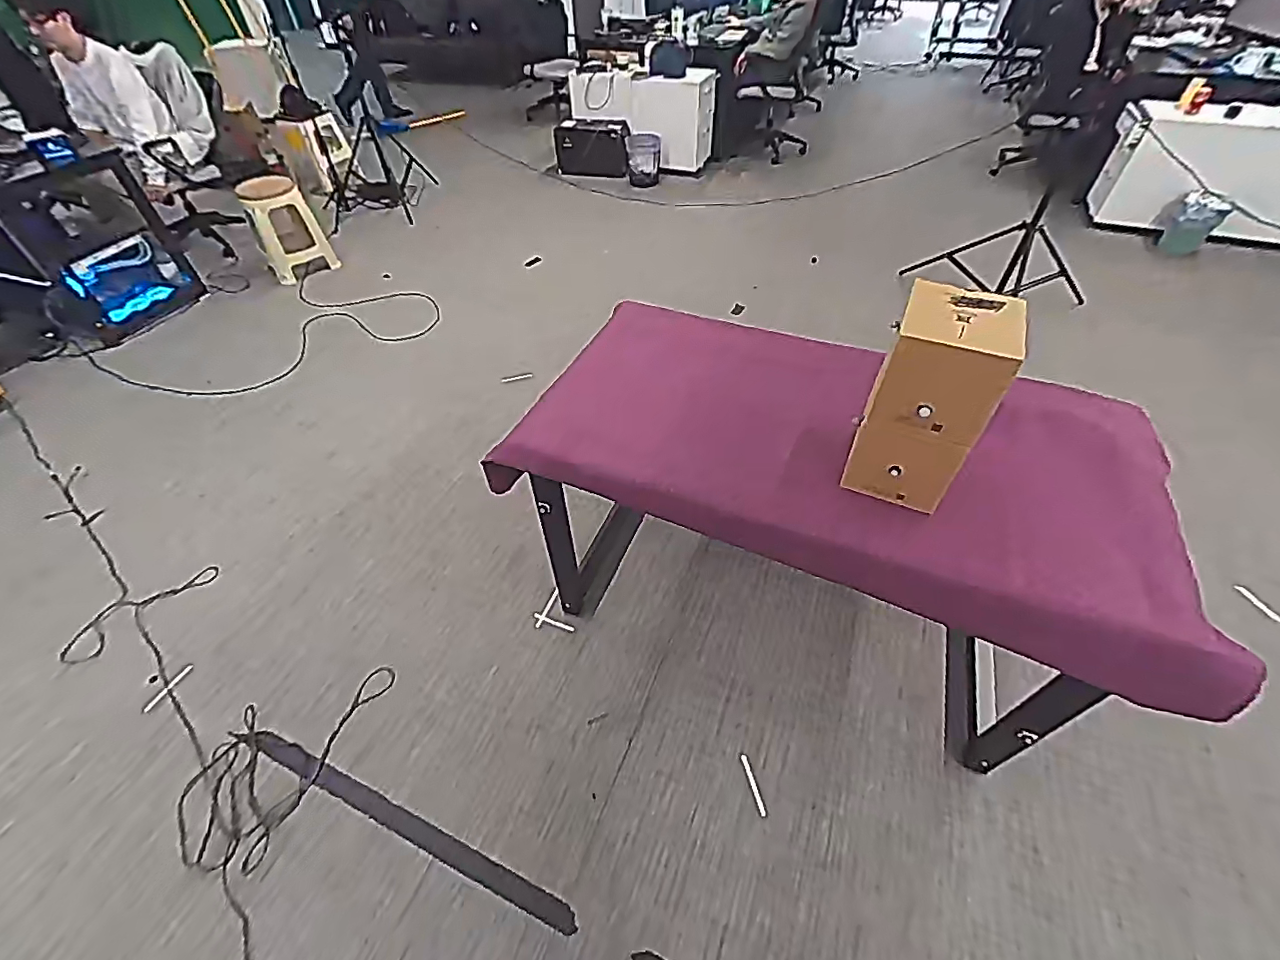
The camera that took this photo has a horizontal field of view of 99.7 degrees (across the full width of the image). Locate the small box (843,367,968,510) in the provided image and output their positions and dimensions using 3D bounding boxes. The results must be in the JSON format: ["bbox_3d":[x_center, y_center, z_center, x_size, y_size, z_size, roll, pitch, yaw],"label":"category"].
[{"bbox_3d":[0.485,-0.074,0.988,0.168,0.176,0.179,19,50,18],"label":"small box"}]

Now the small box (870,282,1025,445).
[{"bbox_3d":[0.487,-0.187,0.869,0.168,0.176,0.179,19,51,18],"label":"small box"}]
